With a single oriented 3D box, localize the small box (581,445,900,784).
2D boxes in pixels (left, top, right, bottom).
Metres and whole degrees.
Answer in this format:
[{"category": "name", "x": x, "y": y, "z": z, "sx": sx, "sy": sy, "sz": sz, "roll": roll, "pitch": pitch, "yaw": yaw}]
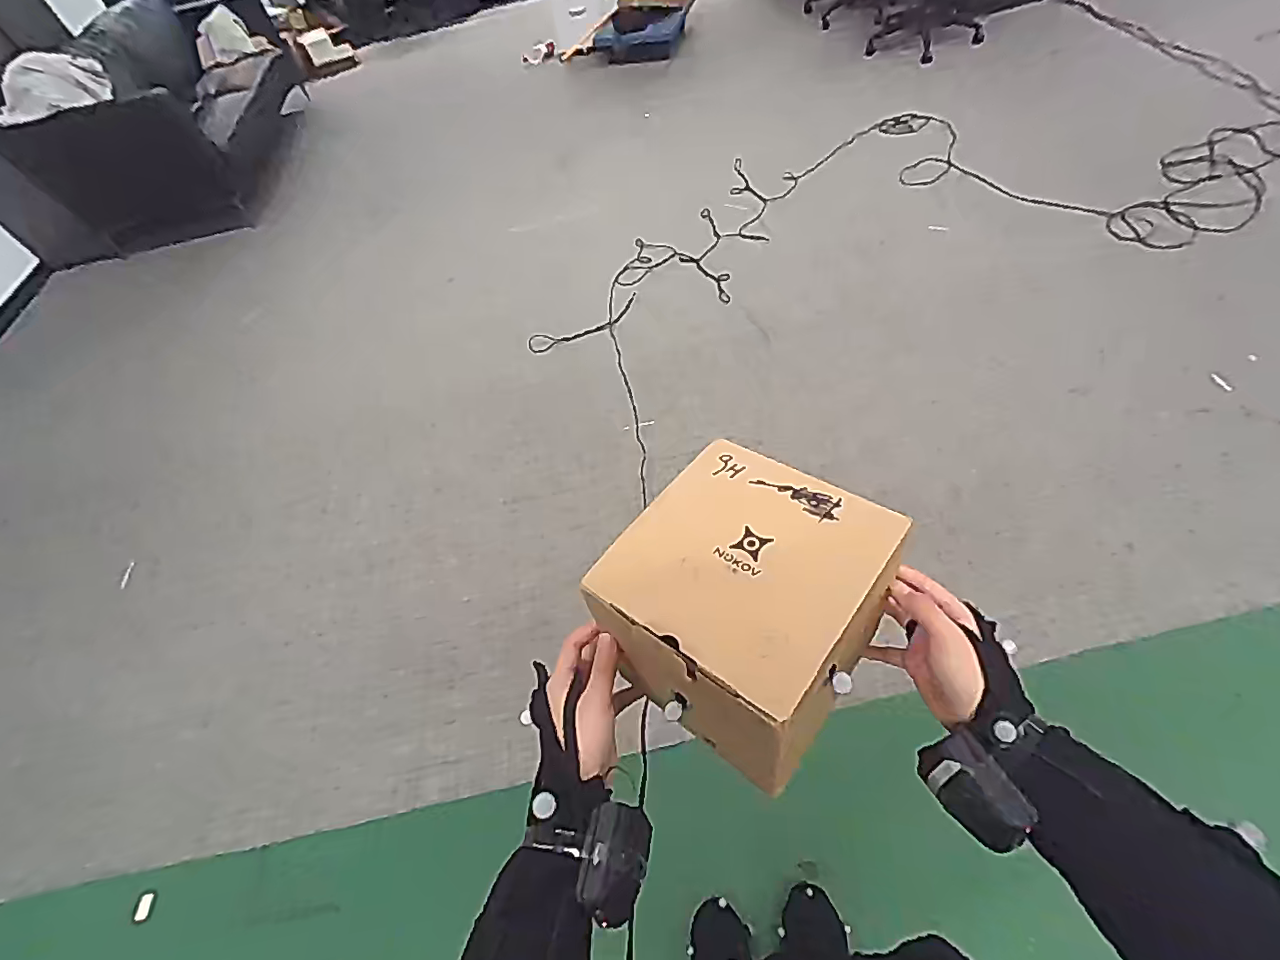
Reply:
[{"category": "small box", "x": 0.084, "y": 0.109, "z": 0.443, "sx": 0.168, "sy": 0.176, "sz": 0.179, "roll": 28, "pitch": 60, "yaw": 32}]
